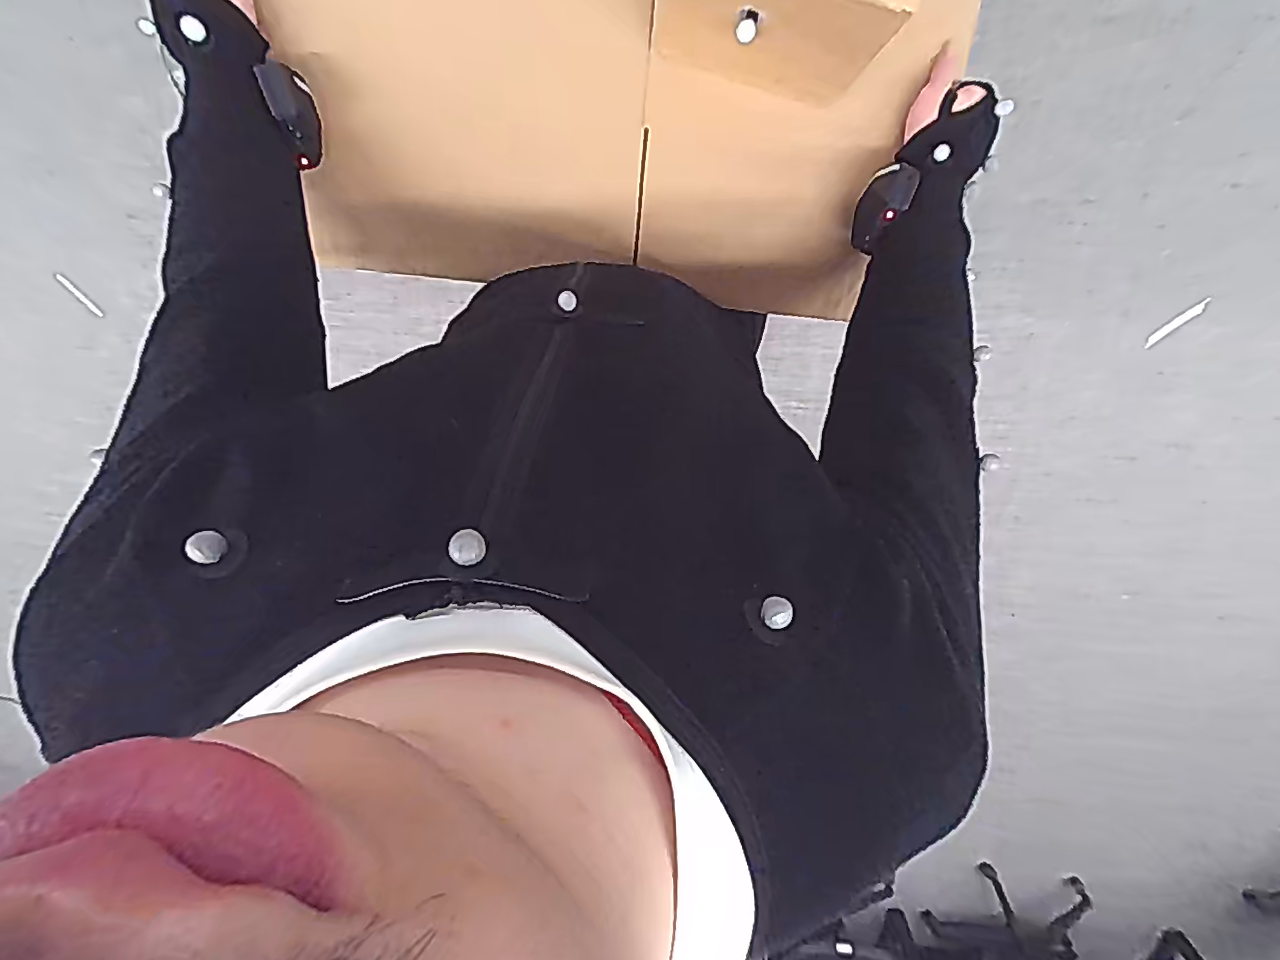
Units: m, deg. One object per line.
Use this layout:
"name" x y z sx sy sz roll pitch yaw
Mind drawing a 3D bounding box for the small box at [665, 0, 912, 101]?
"small box" 0.123 -0.436 0.423 0.179 0.176 0.168 15 105 -4
